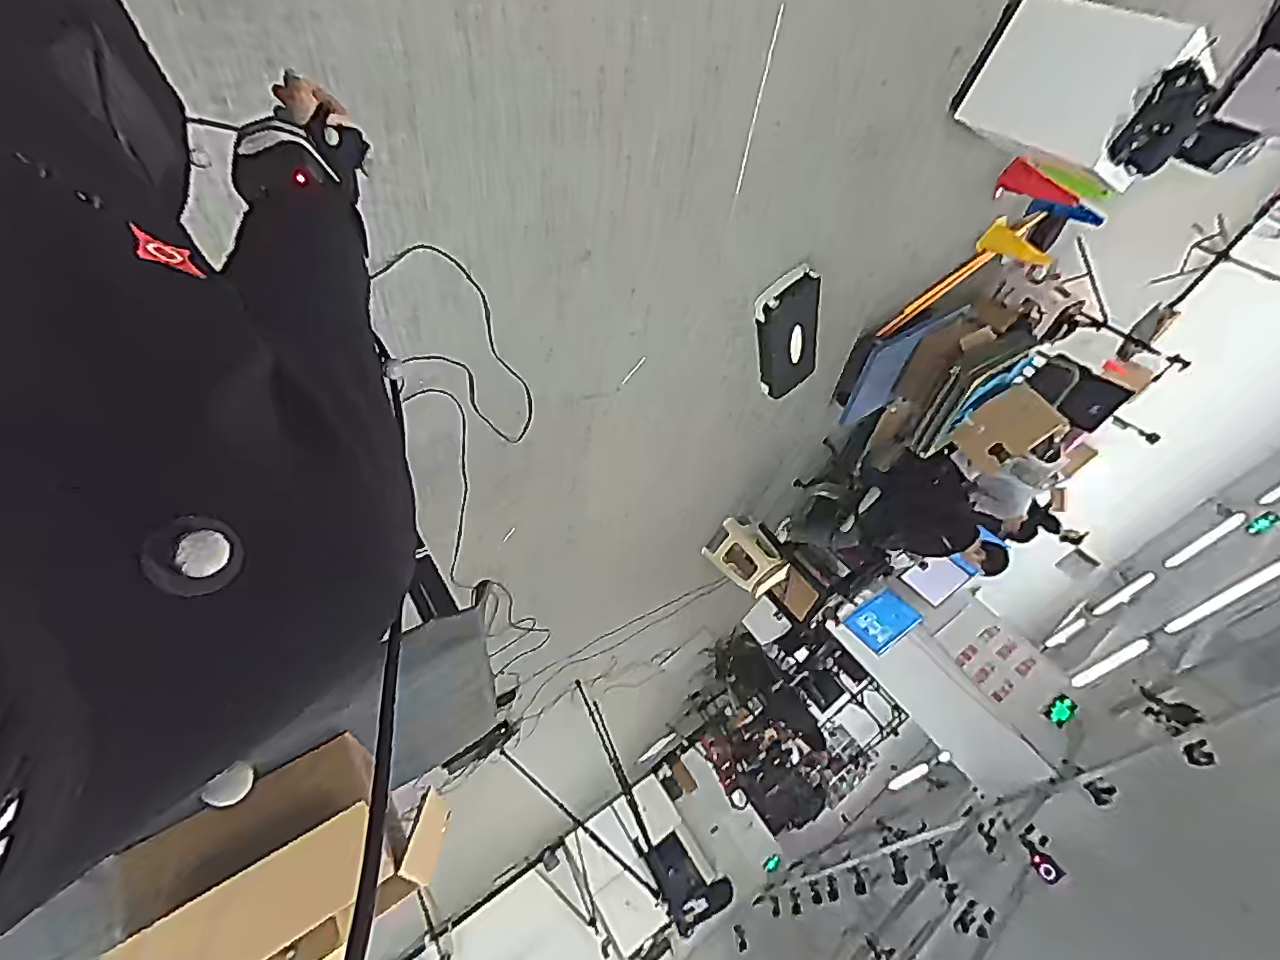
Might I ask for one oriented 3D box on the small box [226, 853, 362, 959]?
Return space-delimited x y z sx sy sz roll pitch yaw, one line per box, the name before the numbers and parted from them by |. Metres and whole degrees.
small box | -0.679 0.882 1.061 0.179 0.176 0.168 -24 147 -28
